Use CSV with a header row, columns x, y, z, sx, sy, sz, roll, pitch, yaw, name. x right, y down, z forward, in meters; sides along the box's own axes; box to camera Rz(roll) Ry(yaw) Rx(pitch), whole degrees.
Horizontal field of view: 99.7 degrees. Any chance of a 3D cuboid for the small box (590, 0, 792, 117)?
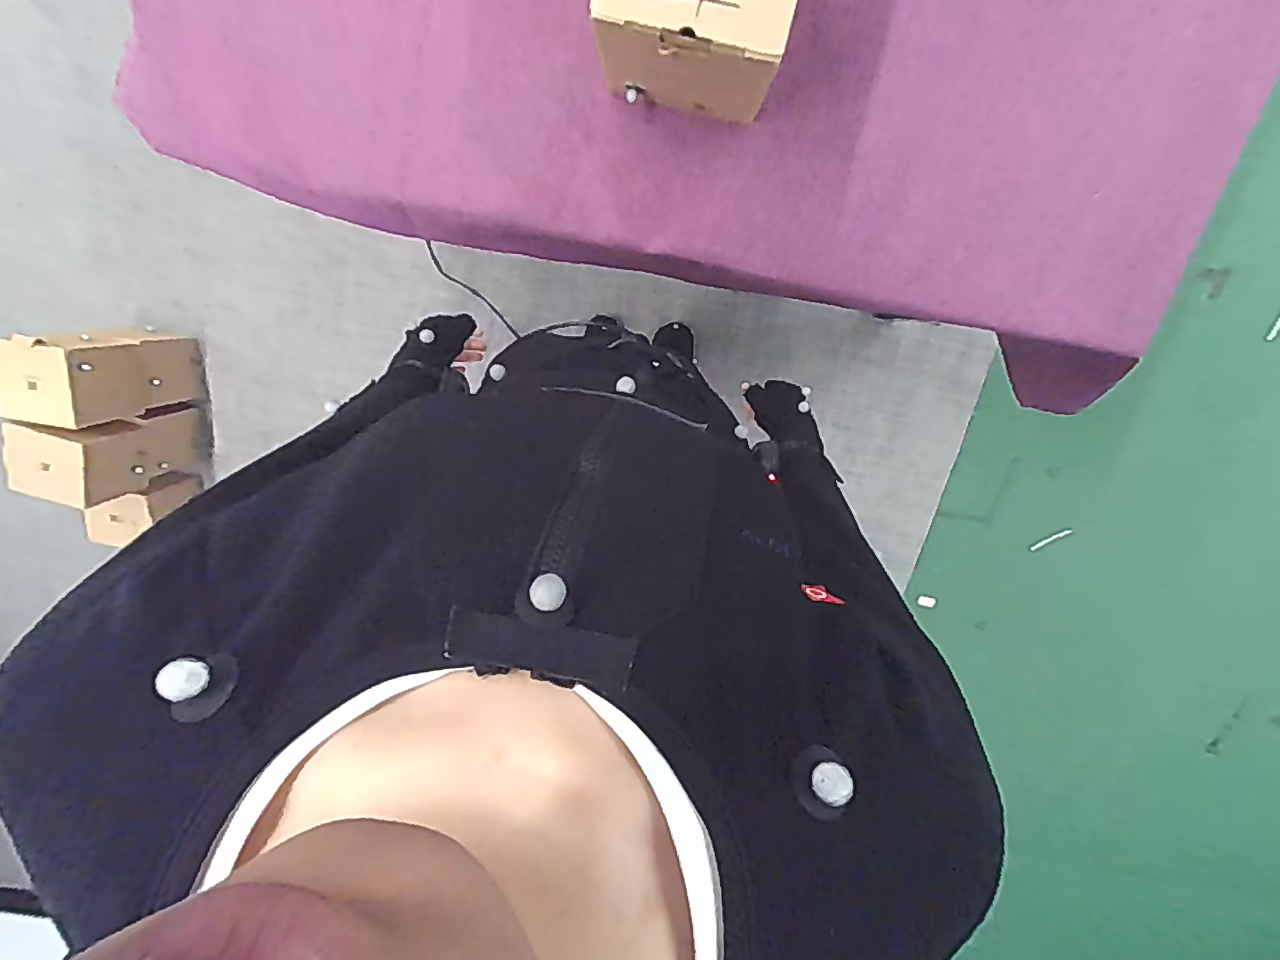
x,y,z,sx,sy,sz,roll,pitch,yaw,name
0.059,-0.473,0.503,0.168,0.176,0.179,13,107,-2,small box
